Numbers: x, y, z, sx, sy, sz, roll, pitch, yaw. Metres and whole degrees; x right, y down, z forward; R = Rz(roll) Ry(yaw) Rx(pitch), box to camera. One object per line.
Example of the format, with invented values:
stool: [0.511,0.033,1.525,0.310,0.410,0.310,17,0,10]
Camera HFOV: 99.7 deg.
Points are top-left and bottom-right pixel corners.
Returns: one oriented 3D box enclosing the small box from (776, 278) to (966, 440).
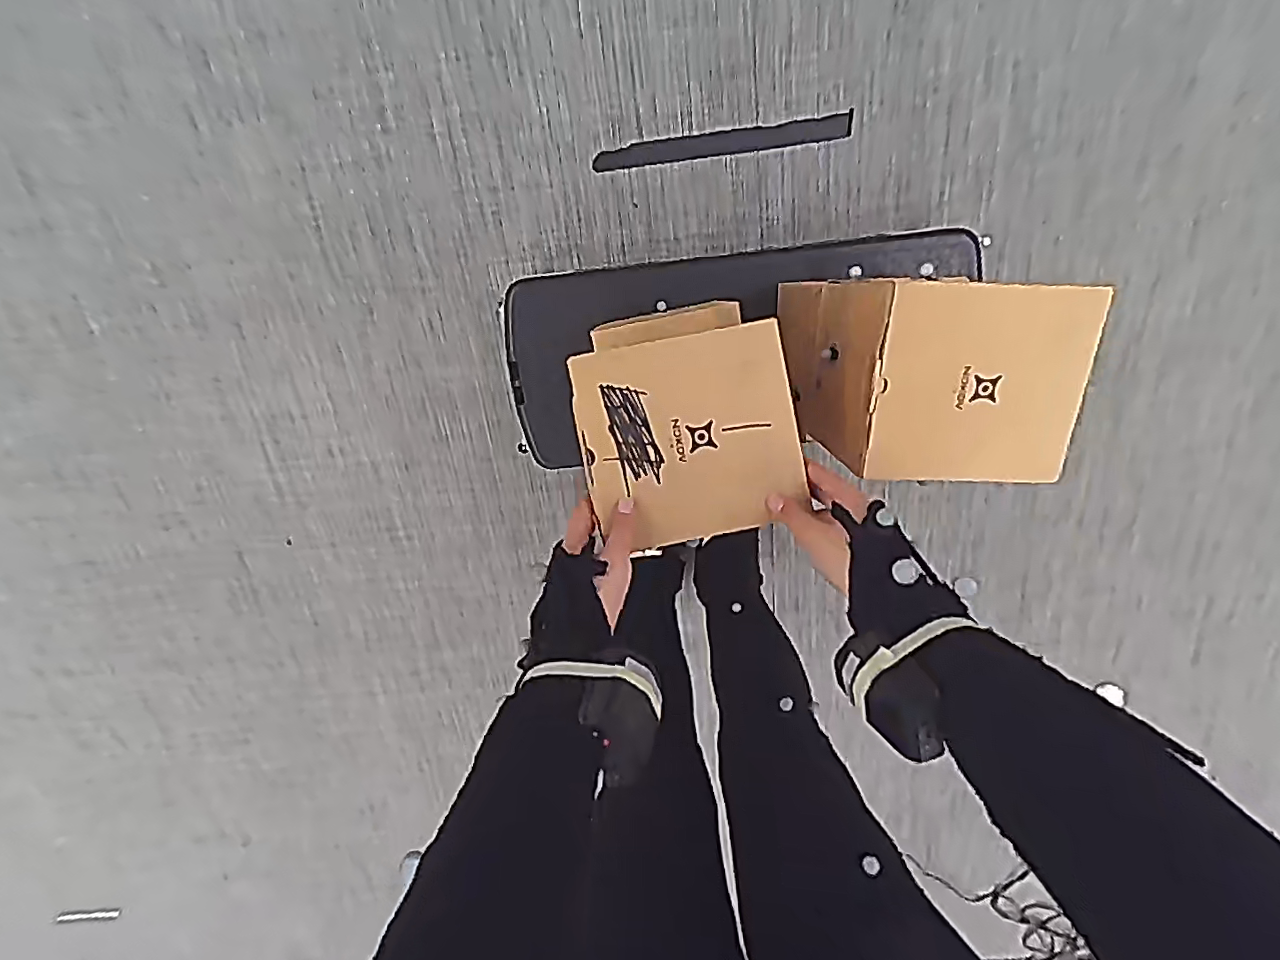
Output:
small box: [0.267,-0.158,0.676,0.168,0.176,0.179,-2,109,1]

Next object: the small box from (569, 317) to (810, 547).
small box: [0.042,-0.038,0.518,0.179,0.176,0.168,-11,90,1]
